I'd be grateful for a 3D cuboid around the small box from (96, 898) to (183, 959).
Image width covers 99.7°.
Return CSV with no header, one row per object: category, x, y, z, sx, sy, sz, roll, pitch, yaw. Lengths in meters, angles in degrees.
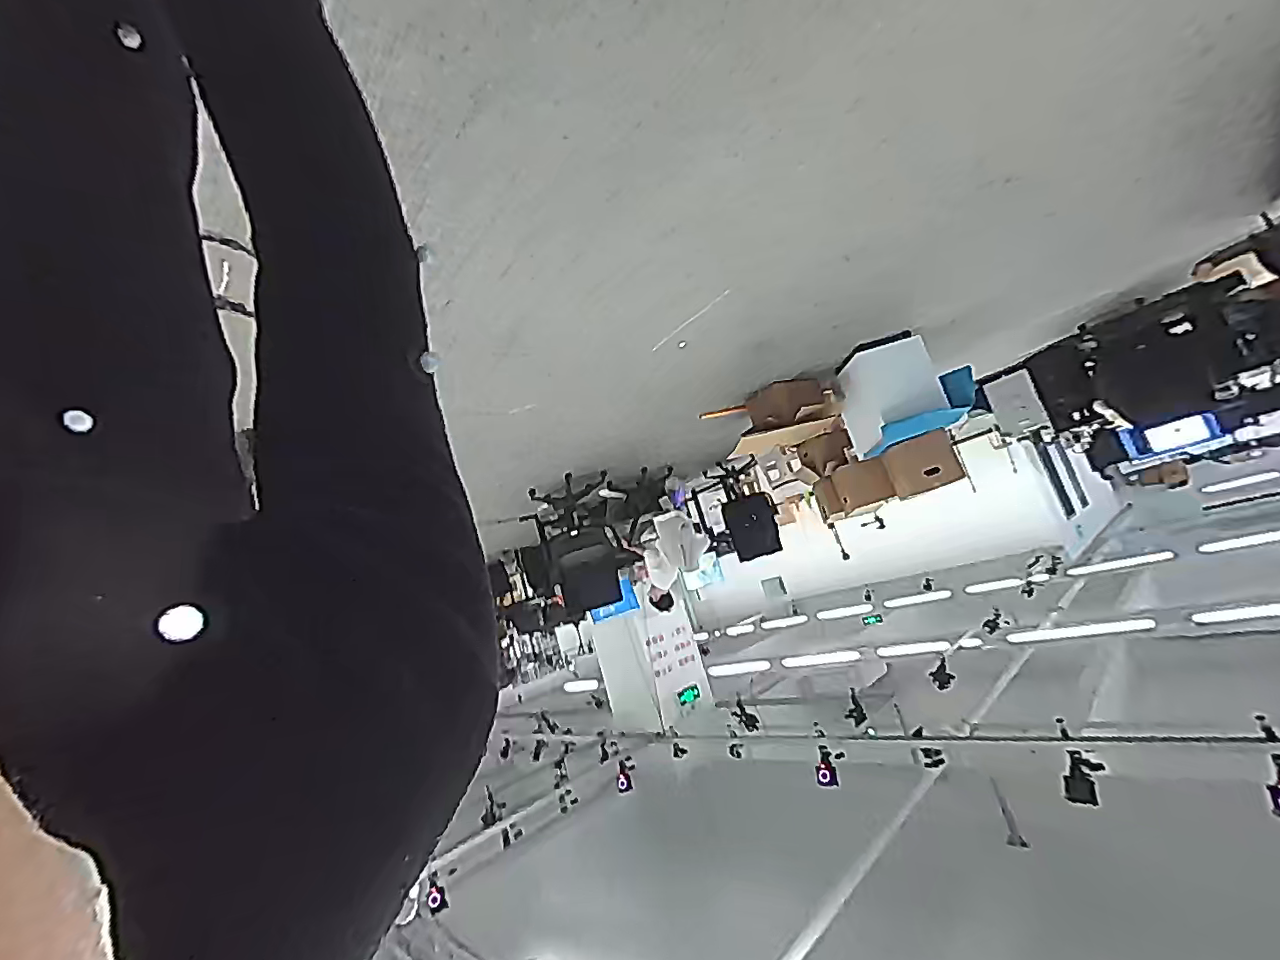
small box,-1.439,1.357,1.556,0.179,0.176,0.168,-7,166,-43
